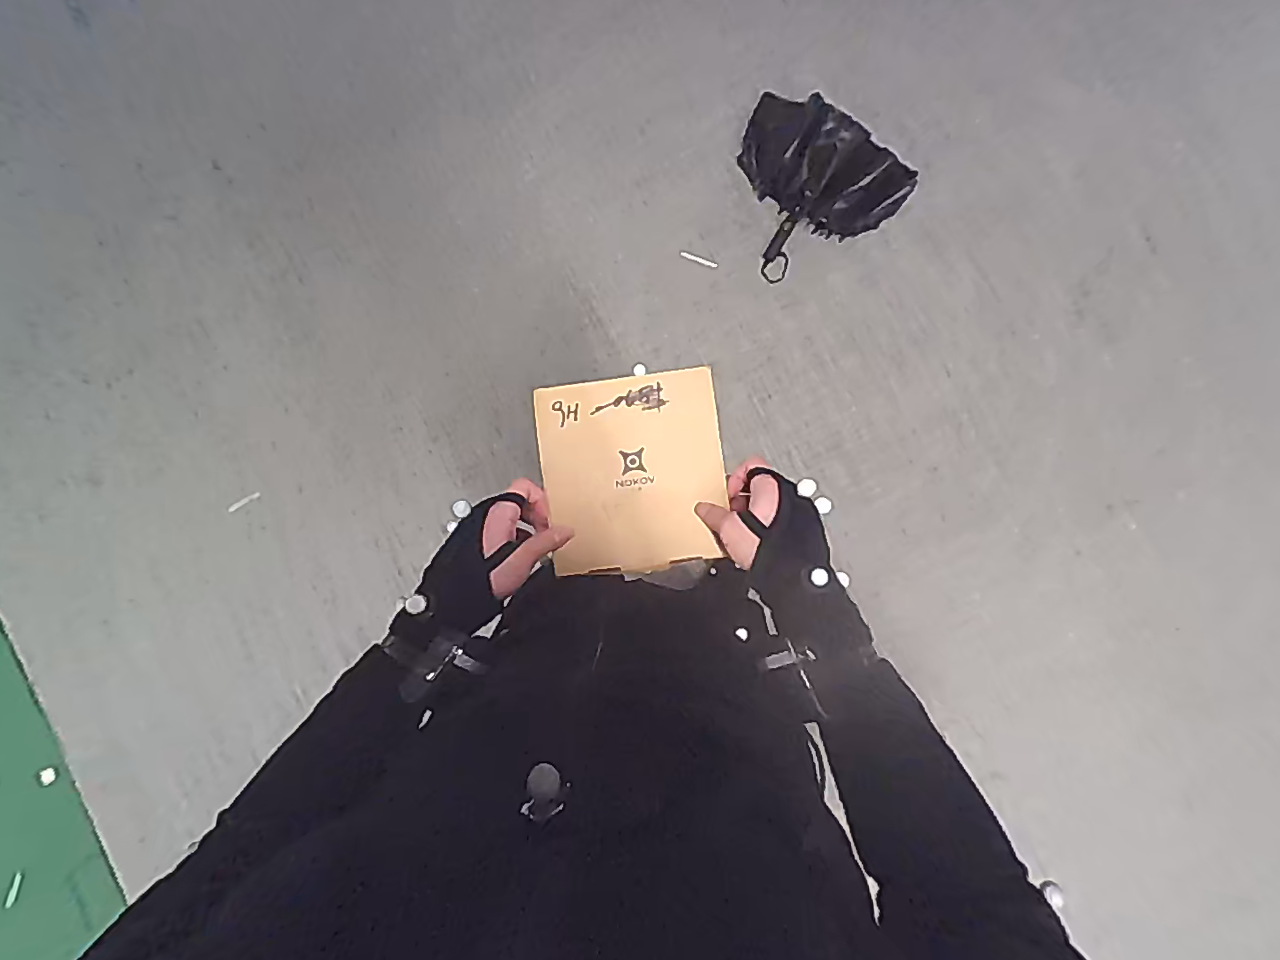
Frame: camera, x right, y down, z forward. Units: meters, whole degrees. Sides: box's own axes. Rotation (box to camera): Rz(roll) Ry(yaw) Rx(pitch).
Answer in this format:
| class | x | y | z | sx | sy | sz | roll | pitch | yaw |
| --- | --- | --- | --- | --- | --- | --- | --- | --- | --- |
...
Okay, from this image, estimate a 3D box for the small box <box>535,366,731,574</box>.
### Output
| class | x | y | z | sx | sy | sz | roll | pitch | yaw |
| --- | --- | --- | --- | --- | --- | --- | --- | --- | --- |
| small box | -0.005 | -0.008 | 0.568 | 0.168 | 0.176 | 0.179 | -7 | 88 | 0 |
